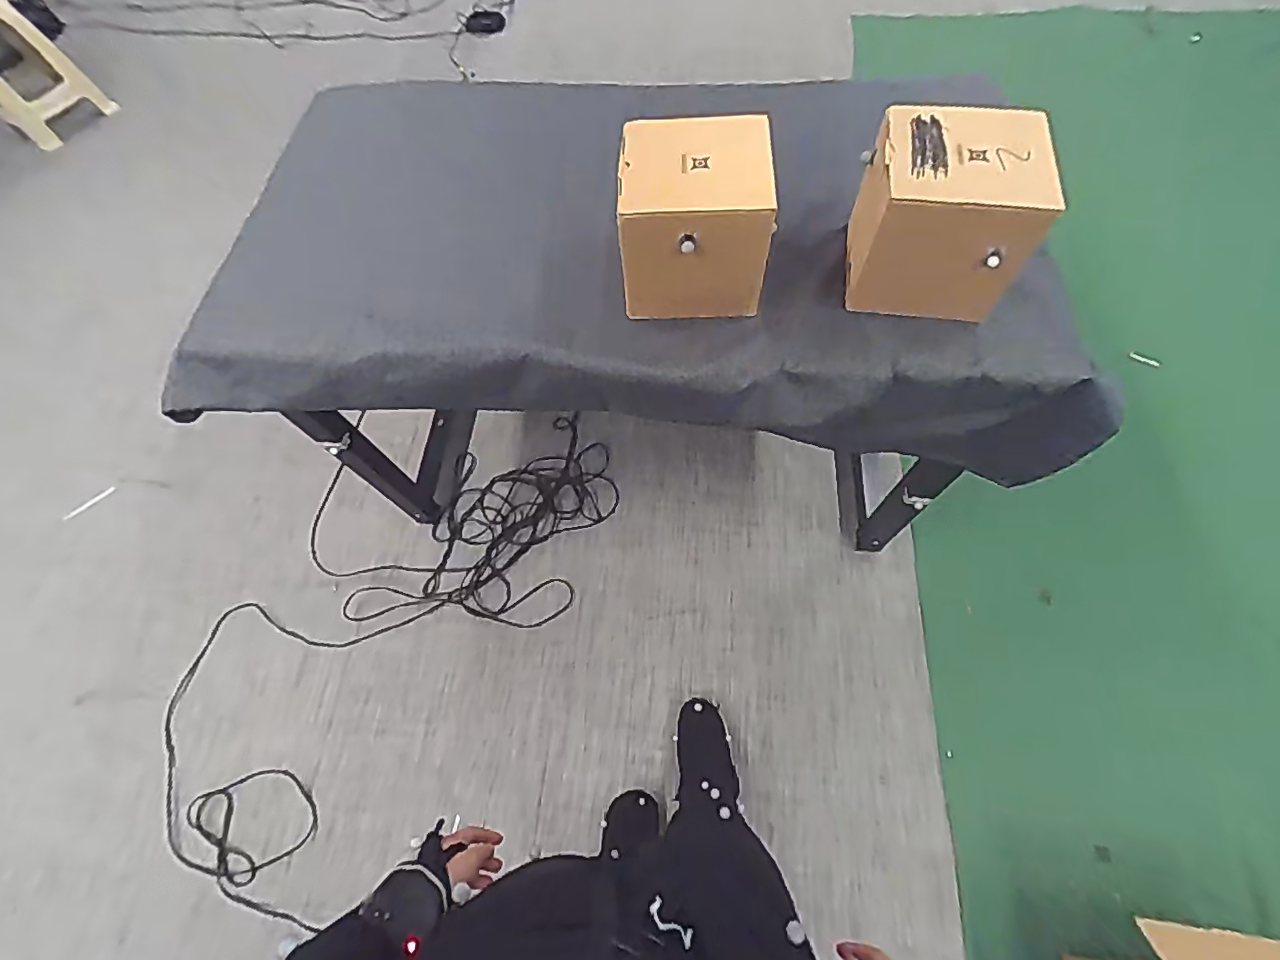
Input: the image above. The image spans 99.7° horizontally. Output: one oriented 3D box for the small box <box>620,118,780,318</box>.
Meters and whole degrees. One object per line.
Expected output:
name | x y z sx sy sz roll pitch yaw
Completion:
small box | 0.074 -0.327 0.694 0.179 0.176 0.168 0 64 5
